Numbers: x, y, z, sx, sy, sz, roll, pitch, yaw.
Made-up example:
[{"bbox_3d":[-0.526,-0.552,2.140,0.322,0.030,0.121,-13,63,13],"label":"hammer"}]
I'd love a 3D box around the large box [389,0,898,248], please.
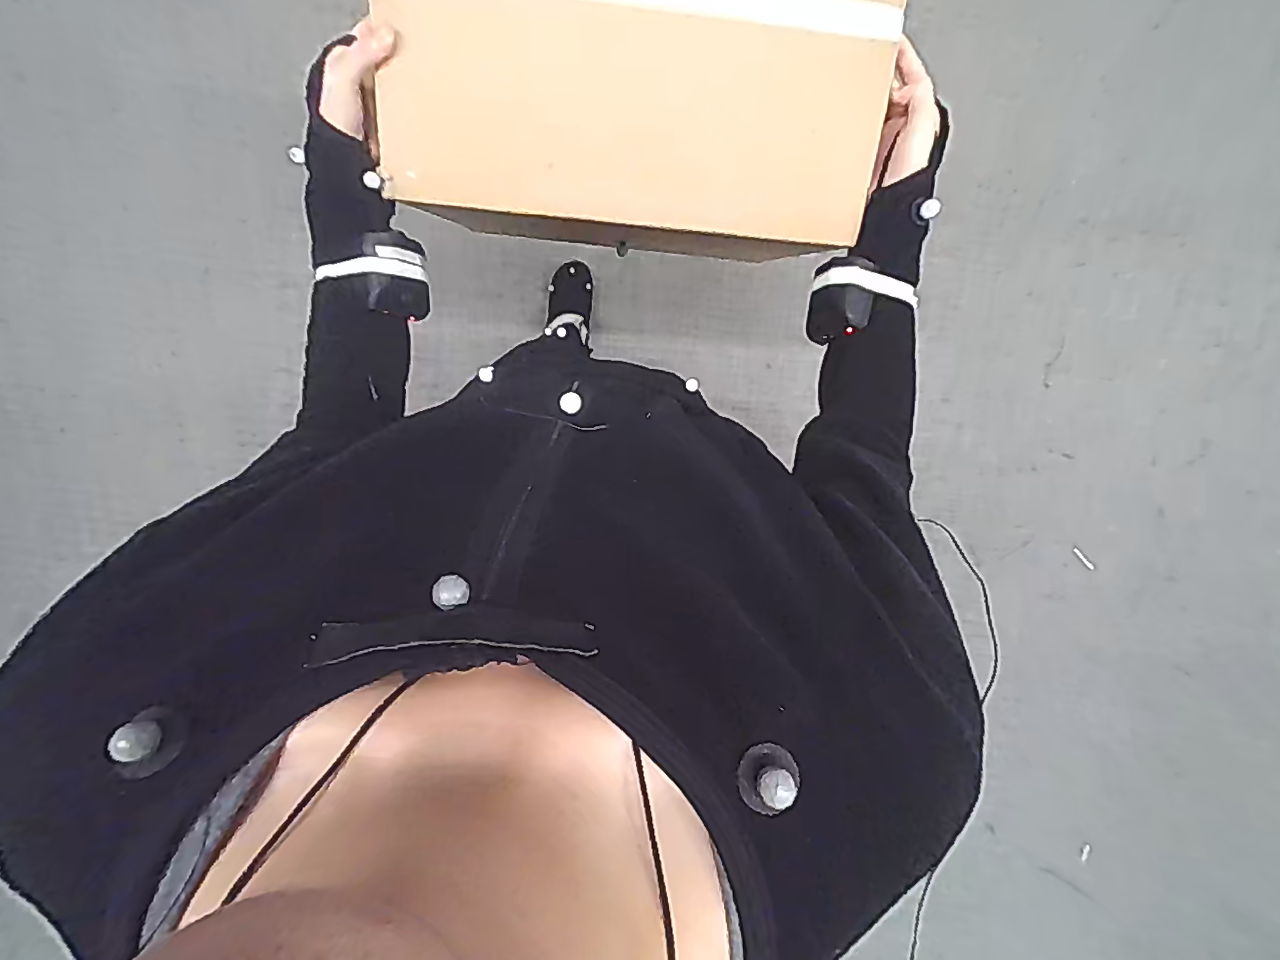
[{"bbox_3d":[0.001,-0.427,0.561,0.408,0.320,0.320,4,109,-4],"label":"large box"}]
